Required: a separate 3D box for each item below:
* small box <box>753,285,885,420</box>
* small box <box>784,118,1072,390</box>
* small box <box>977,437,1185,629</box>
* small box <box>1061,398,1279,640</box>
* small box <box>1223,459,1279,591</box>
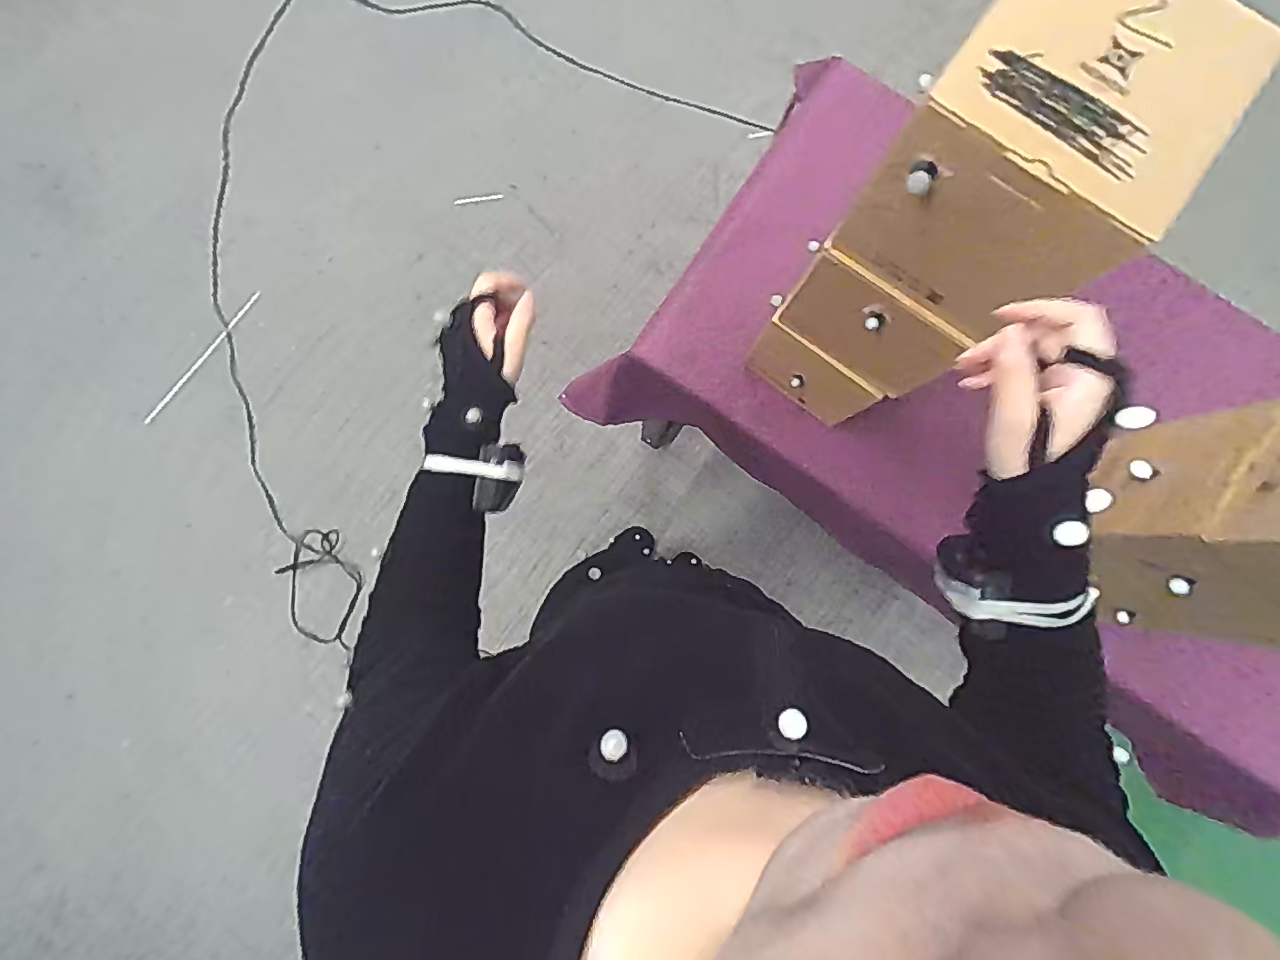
[{"bbox_3d":[0.273,-0.205,0.737,0.168,0.176,0.179,38,85,2],"label":"small box"},{"bbox_3d":[0.281,-0.219,0.574,0.179,0.176,0.168,36,86,2],"label":"small box"},{"bbox_3d":[0.600,0.070,0.716,0.179,0.176,0.168,36,85,2],"label":"small box"},{"bbox_3d":[0.597,0.049,0.553,0.179,0.176,0.168,40,85,3],"label":"small box"},{"bbox_3d":[0.607,0.039,0.388,0.179,0.176,0.168,40,85,2],"label":"small box"}]
